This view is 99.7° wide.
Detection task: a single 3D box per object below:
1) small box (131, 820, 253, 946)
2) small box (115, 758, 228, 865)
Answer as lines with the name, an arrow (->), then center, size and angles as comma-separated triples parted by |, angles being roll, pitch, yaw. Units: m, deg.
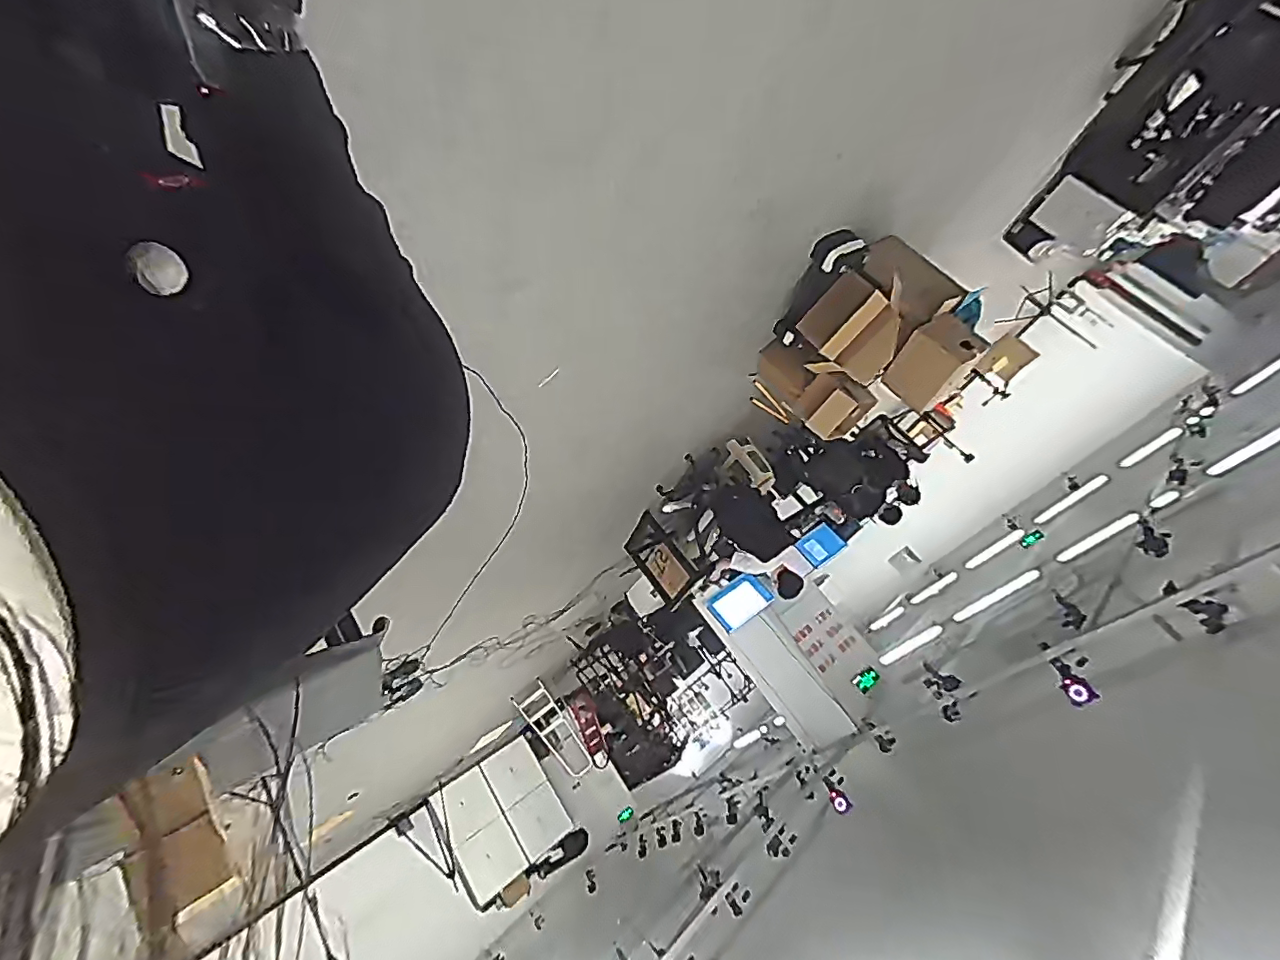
small box -> -1.074, 0.960, 1.296 | 0.179, 0.176, 0.168 | -25, 156, -33
small box -> -1.185, 0.842, 1.372 | 0.168, 0.176, 0.179 | -22, 155, -39
